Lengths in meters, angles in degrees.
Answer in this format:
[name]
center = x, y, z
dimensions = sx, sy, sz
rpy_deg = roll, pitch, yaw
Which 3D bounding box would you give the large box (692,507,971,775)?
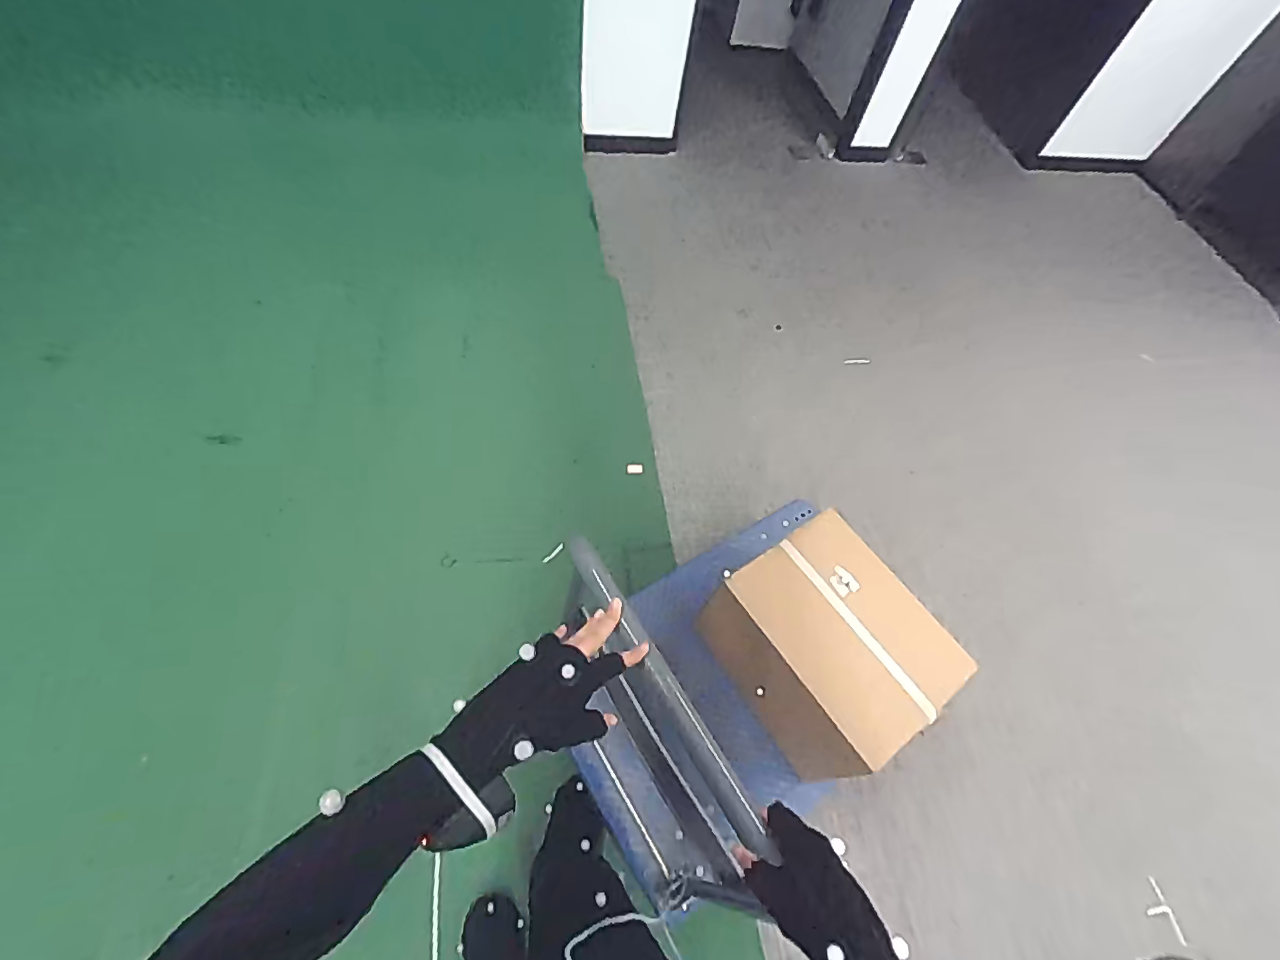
[large box]
center = 0.372, 0.343, 1.153
dimensions = 0.320, 0.320, 0.408
rpy_deg = -28, 65, -23
